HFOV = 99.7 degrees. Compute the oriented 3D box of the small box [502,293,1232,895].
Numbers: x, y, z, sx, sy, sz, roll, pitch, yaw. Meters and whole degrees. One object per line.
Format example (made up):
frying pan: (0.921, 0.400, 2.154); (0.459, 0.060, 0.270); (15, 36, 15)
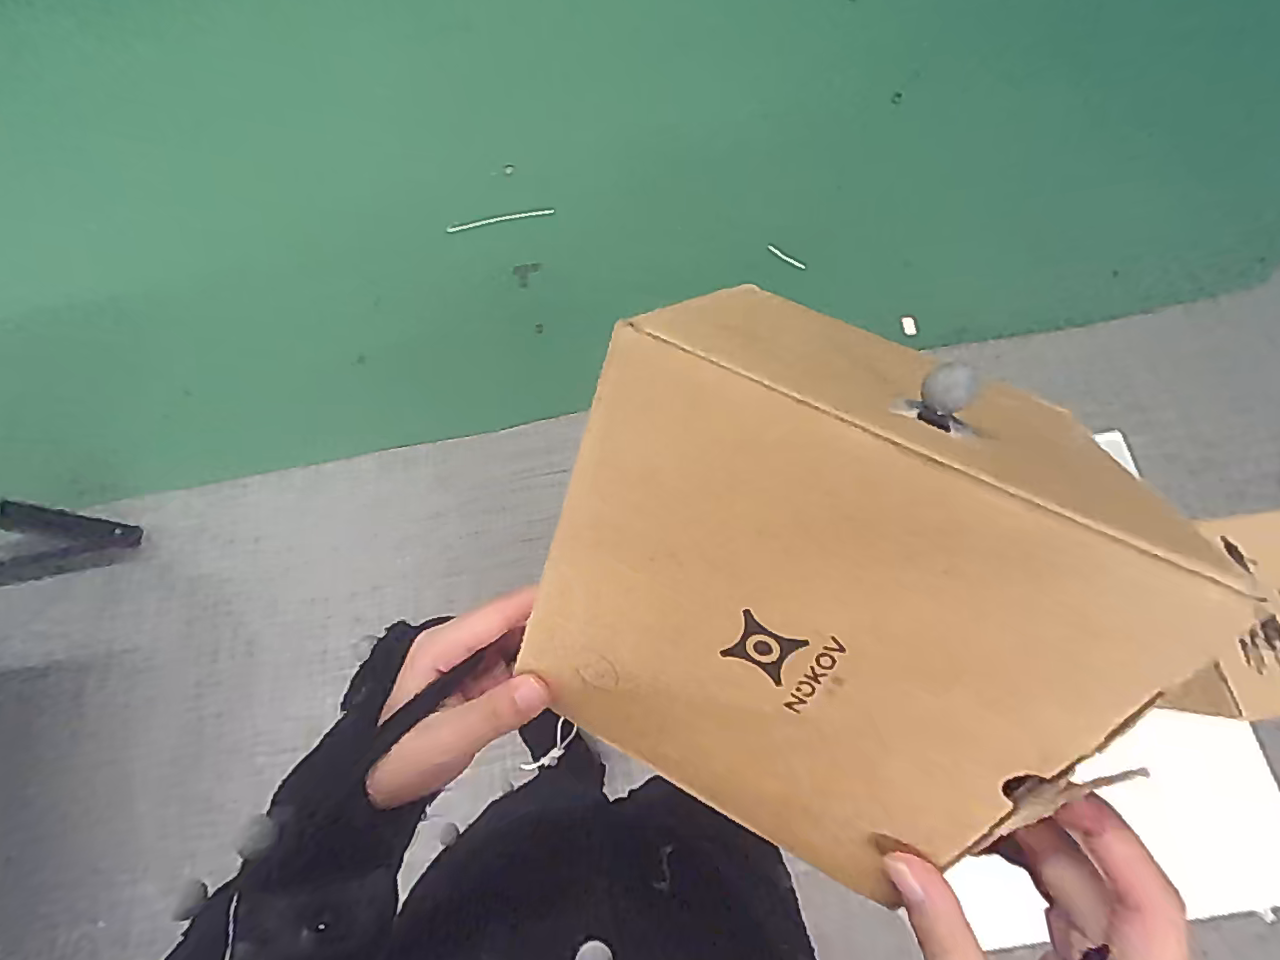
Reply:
small box: (0.069, 0.023, 0.250); (0.179, 0.176, 0.168); (26, 118, 10)
